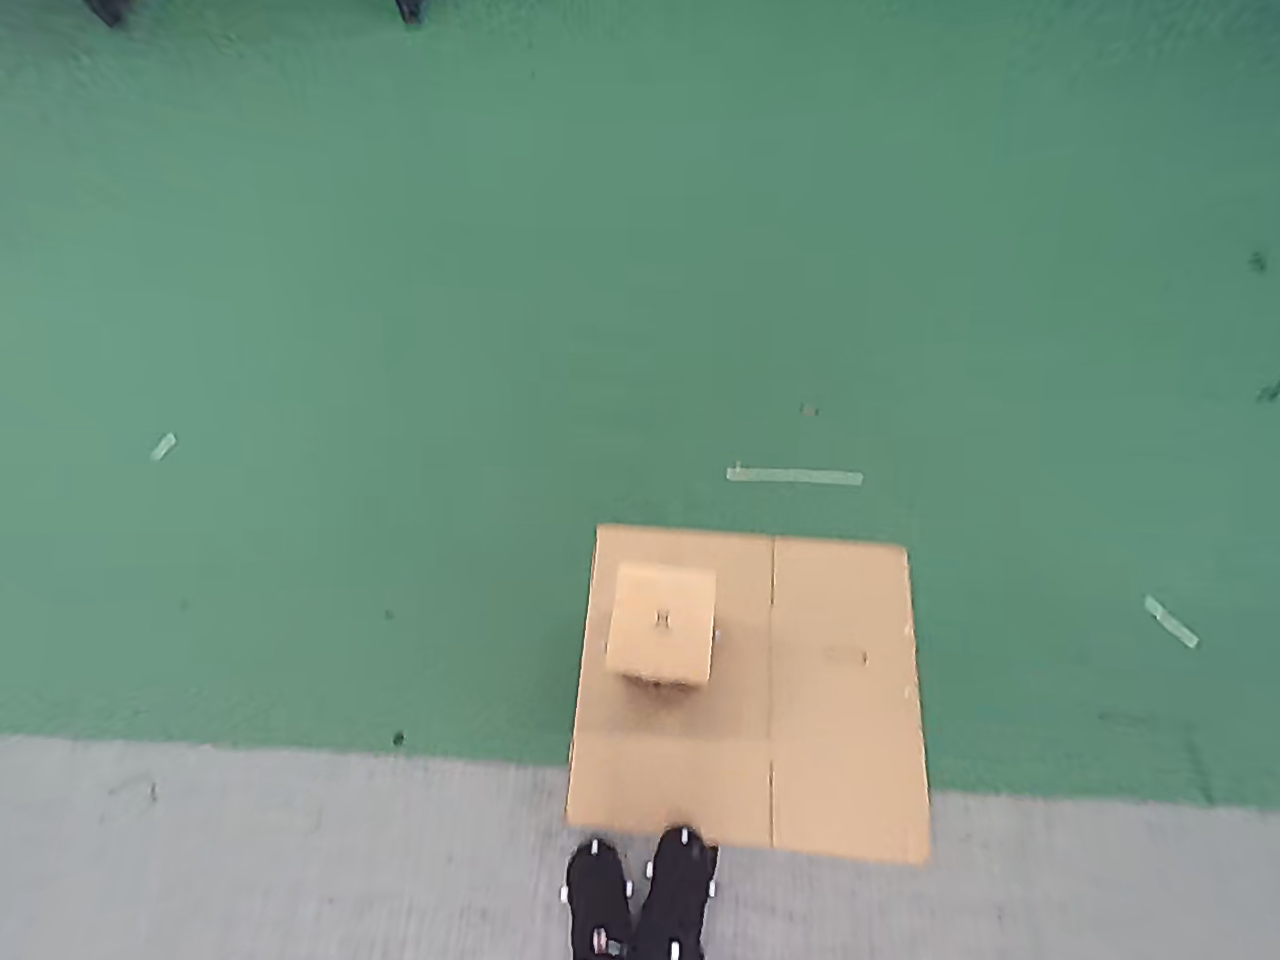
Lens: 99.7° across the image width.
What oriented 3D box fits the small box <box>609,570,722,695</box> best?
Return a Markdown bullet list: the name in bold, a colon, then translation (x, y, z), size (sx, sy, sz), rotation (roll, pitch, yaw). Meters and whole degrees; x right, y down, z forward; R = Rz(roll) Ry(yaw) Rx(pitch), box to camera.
- **small box**: translation (0.046, 0.268, 0.936), size (0.168, 0.176, 0.179), rotation (6, 70, 6)
